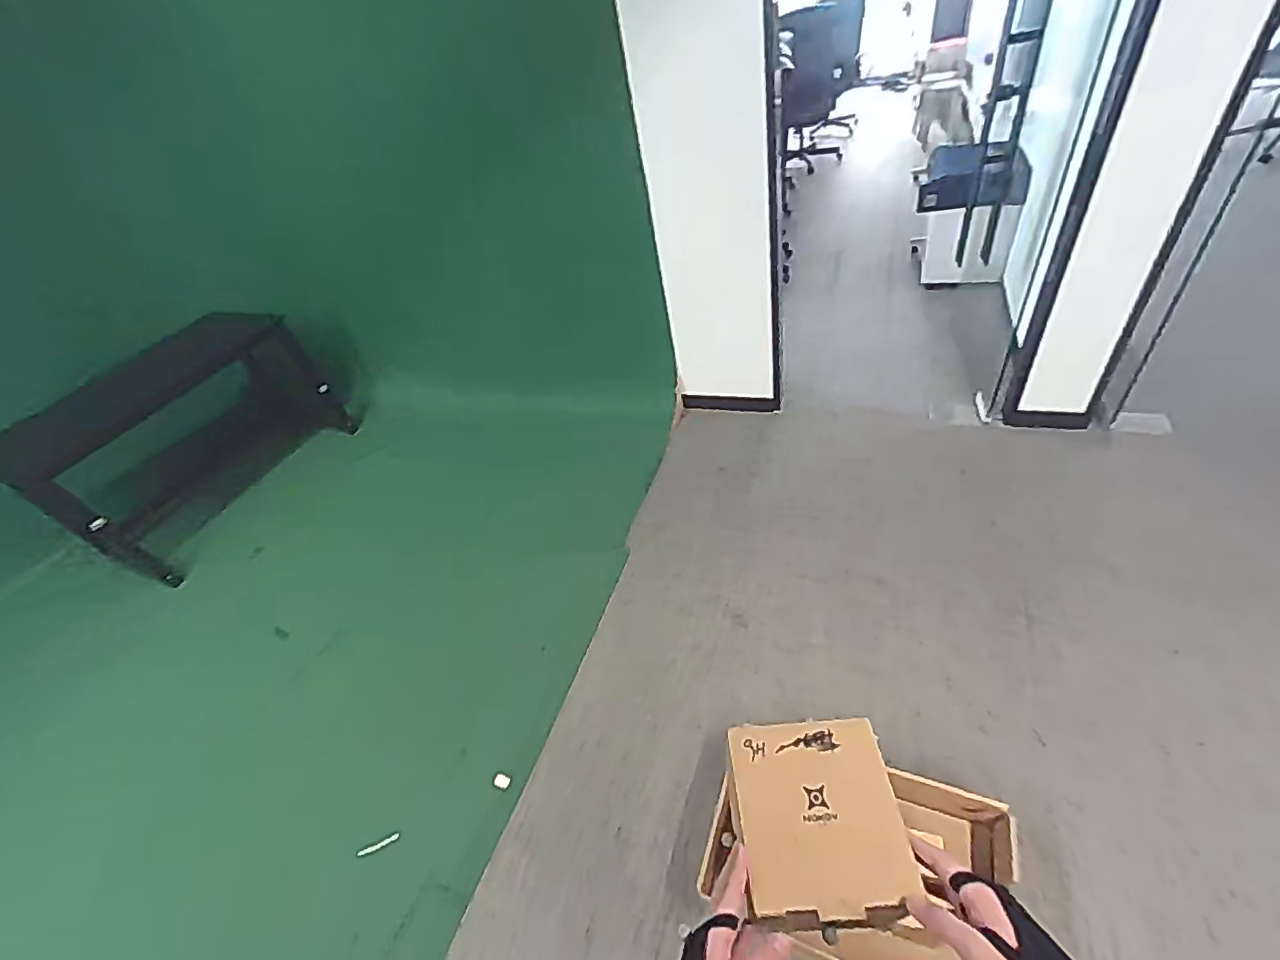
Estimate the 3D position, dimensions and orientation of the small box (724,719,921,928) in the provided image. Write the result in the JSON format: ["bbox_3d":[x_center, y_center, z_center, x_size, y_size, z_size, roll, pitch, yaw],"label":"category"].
[{"bbox_3d":[0.190,0.398,0.622,0.168,0.176,0.179,-6,46,3],"label":"small box"}]
